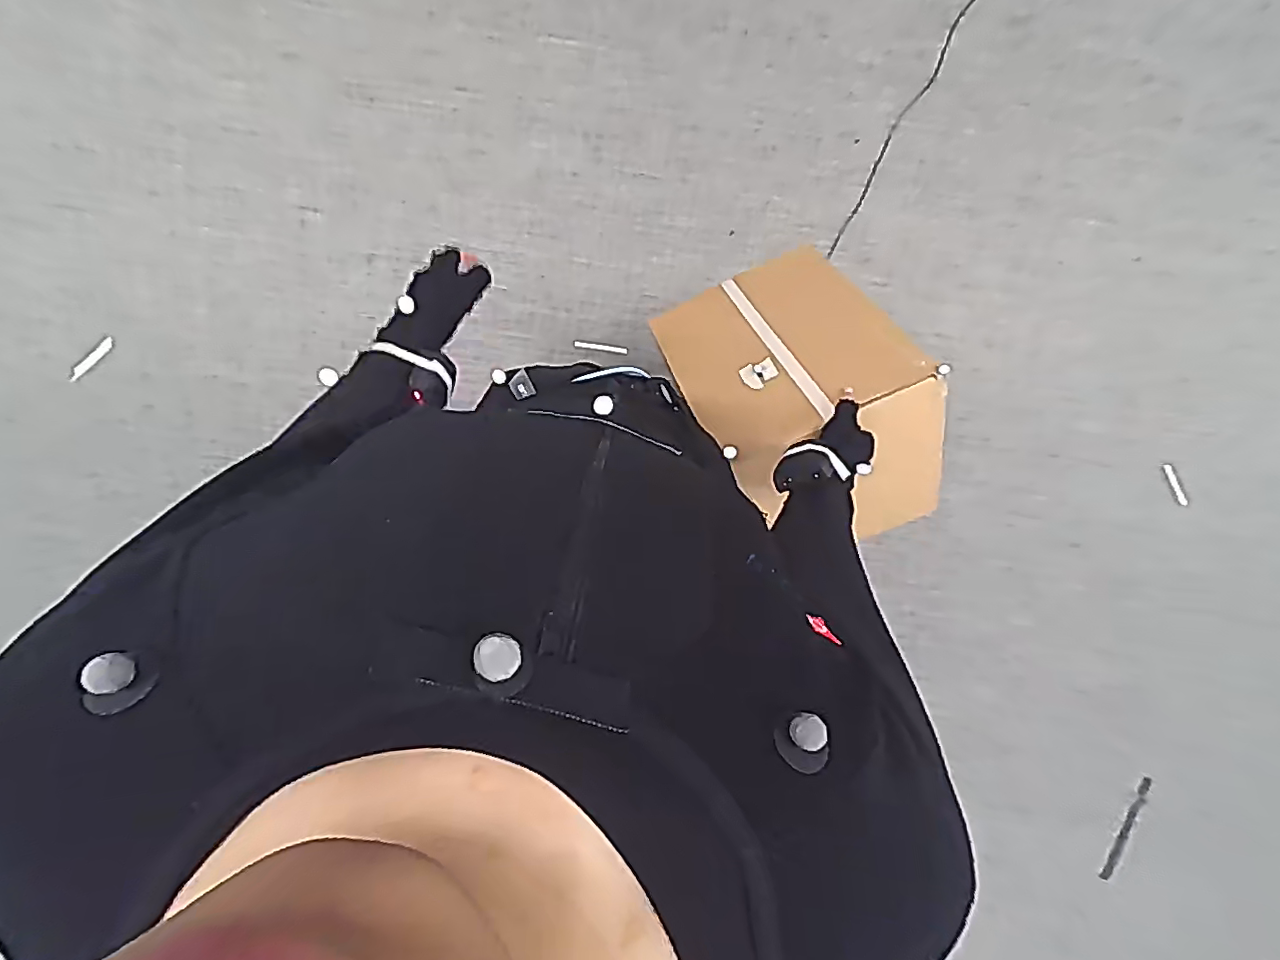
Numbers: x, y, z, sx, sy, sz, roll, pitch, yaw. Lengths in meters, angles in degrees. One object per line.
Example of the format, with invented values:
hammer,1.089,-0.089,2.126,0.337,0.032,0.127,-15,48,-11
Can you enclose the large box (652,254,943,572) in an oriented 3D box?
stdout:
large box,0.256,-0.119,0.953,0.320,0.408,0.320,-24,138,7
